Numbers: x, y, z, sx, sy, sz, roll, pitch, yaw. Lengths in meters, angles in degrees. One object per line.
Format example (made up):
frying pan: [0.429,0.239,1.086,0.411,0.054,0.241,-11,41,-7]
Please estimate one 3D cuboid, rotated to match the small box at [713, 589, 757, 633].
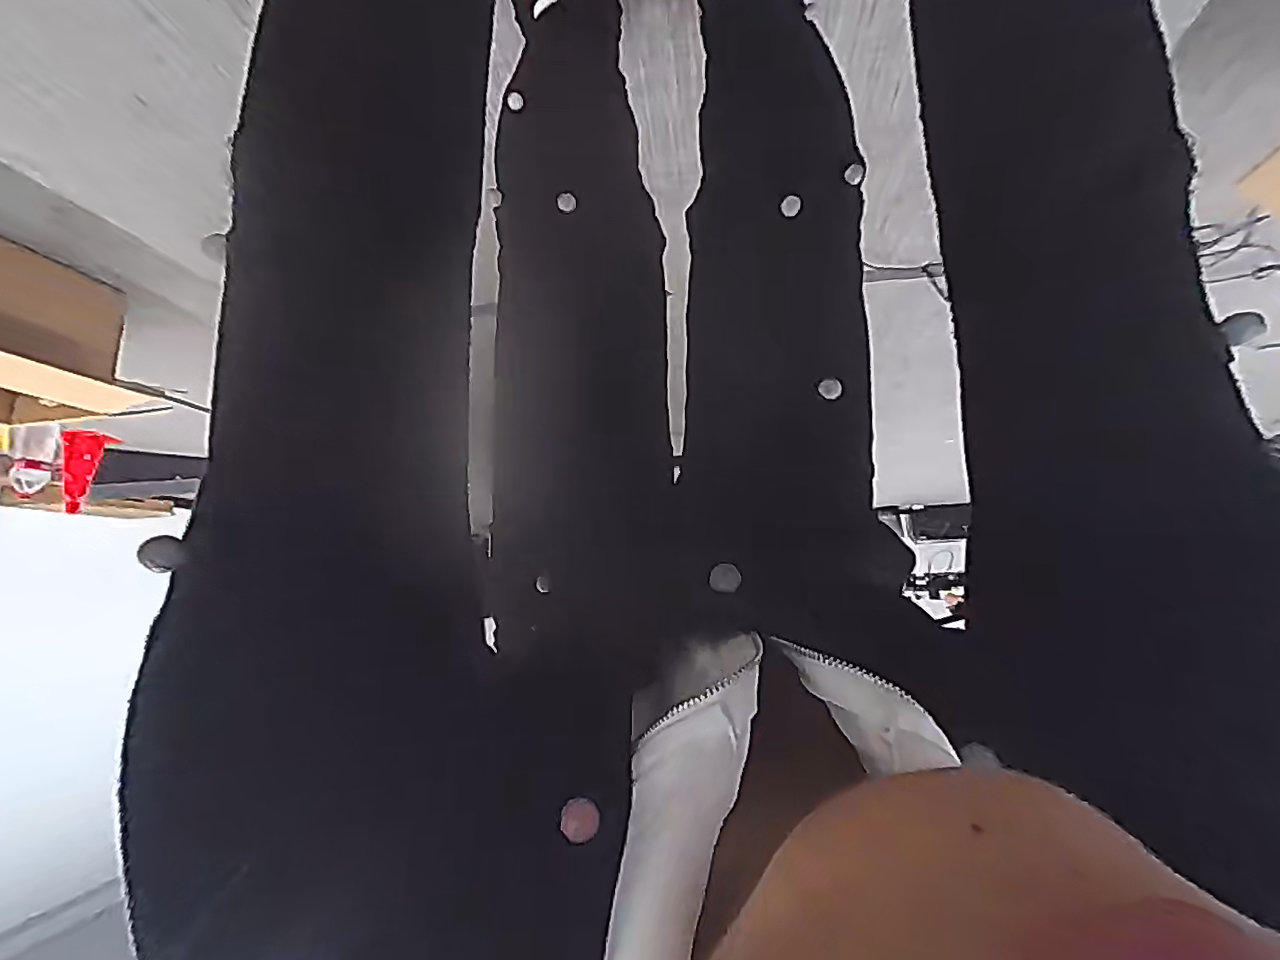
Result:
small box: [0.390,0.538,2.229,0.168,0.176,0.179,-3,168,8]
